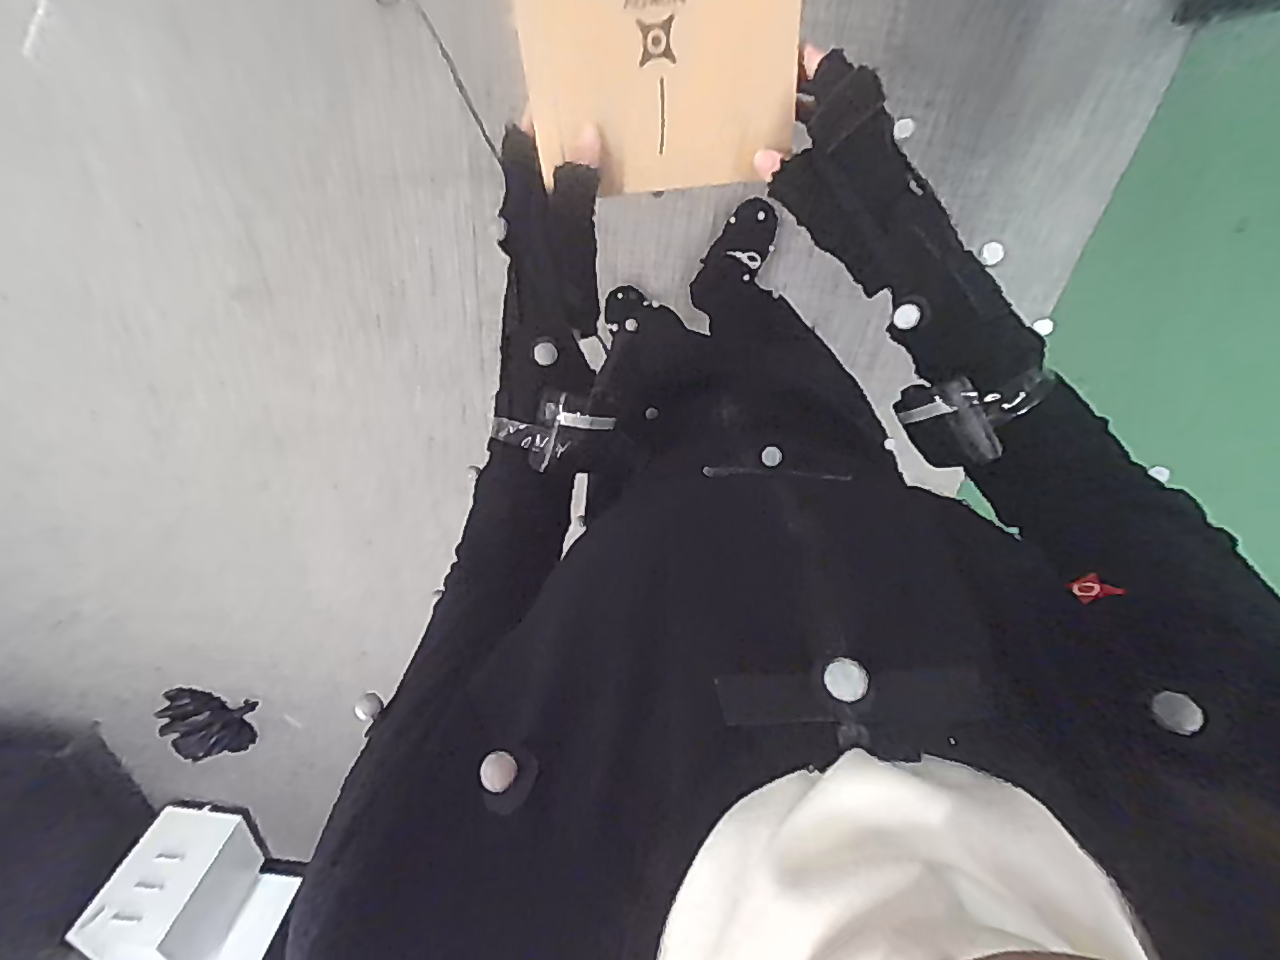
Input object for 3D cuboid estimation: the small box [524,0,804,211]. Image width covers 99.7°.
[{"bbox_3d":[0.014,-0.306,0.389,0.168,0.176,0.179,-4,123,3],"label":"small box"}]
